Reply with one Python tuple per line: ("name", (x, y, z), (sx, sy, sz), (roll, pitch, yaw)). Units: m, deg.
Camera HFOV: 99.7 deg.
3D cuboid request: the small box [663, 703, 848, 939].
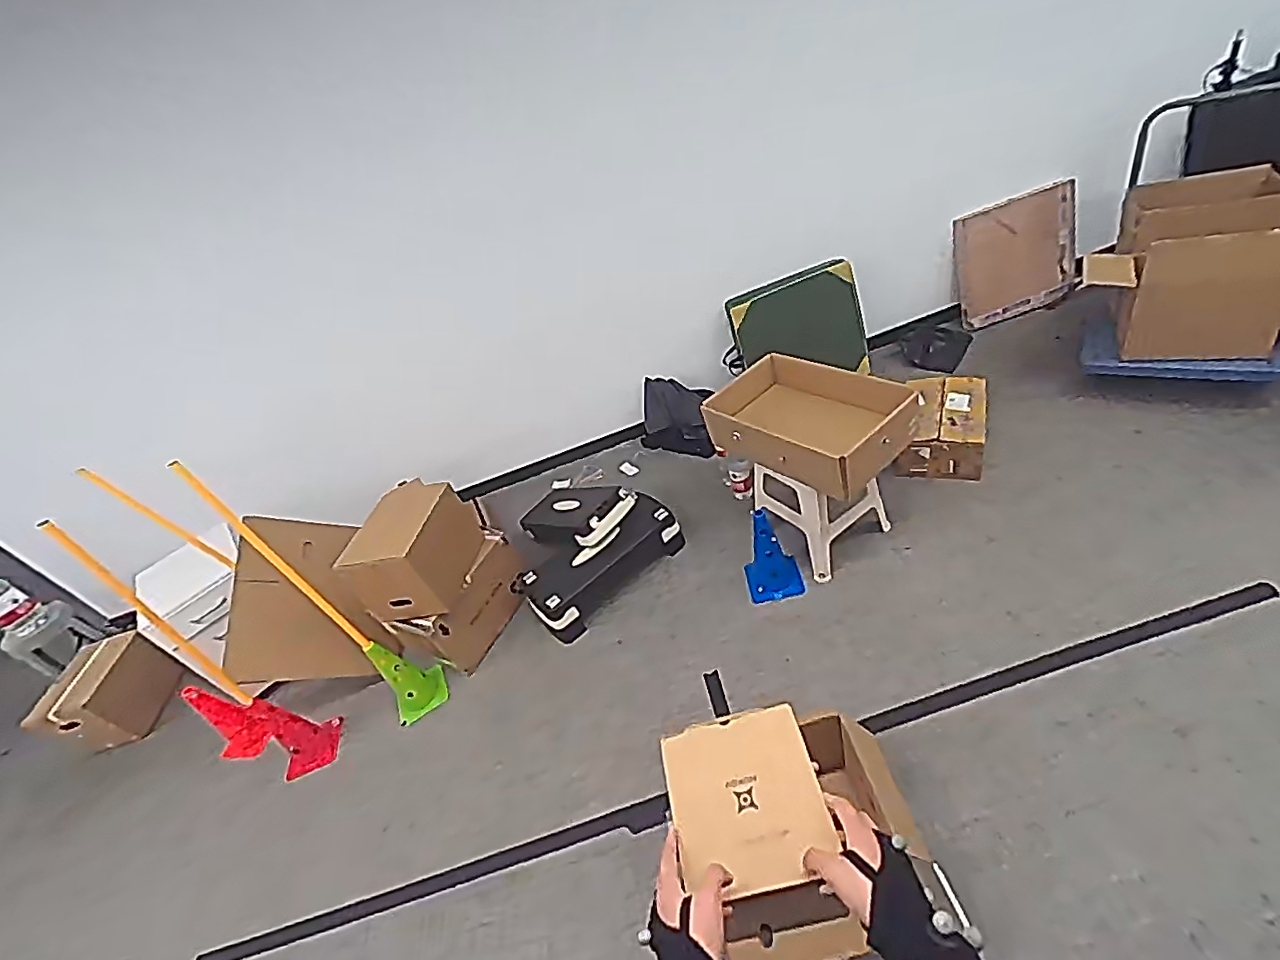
("small box", (0.133, 0.405, 0.646), (0.168, 0.176, 0.179), (-15, 38, 3))
